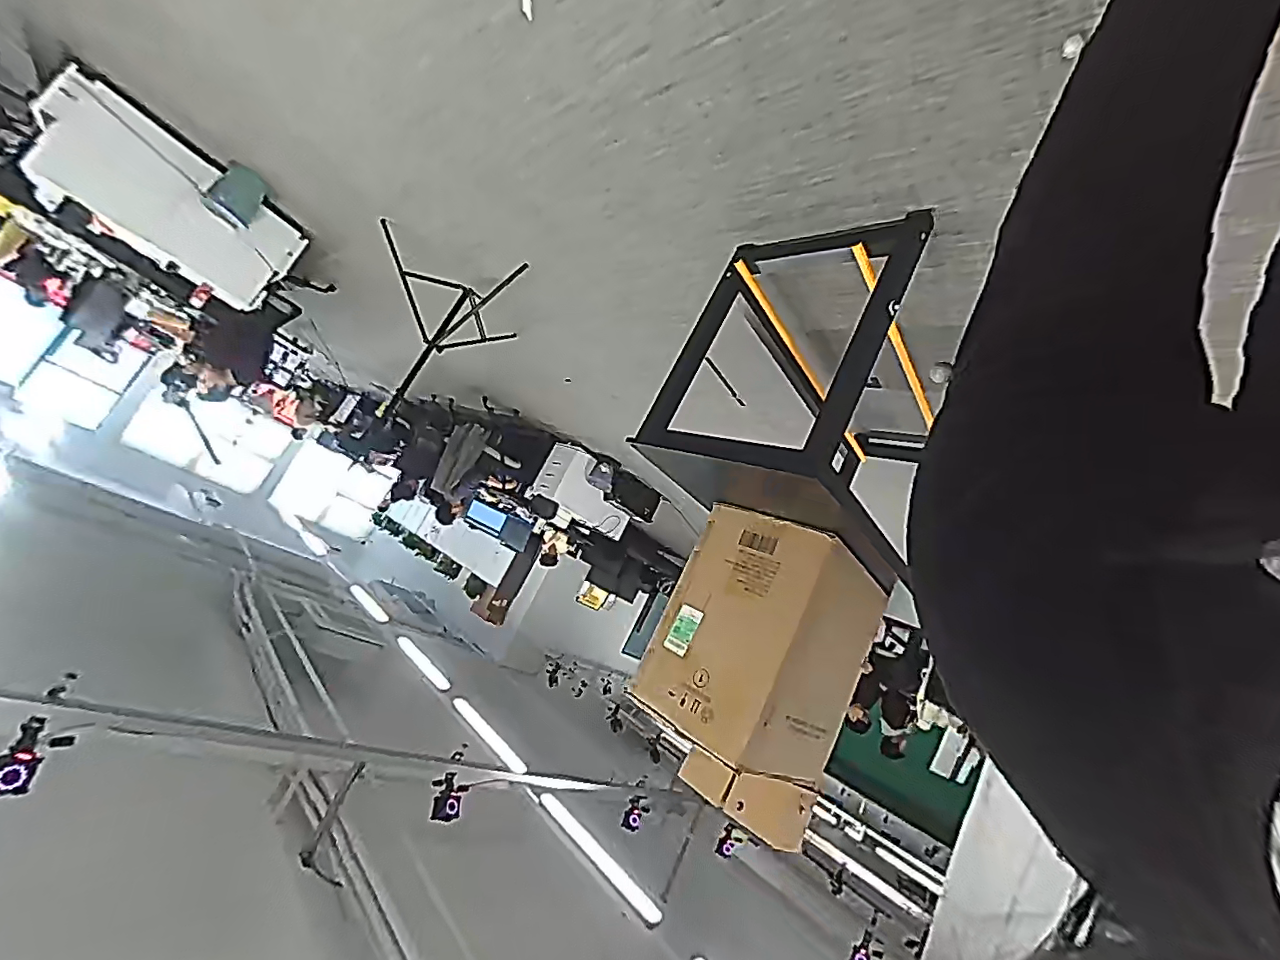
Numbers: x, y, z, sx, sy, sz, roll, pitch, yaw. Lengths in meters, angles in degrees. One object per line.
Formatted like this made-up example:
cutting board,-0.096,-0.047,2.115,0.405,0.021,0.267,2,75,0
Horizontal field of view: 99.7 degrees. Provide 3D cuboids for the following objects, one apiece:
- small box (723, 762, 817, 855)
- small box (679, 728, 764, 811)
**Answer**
small box,0.375,0.930,1.550,0.179,0.176,0.168,8,156,48
small box,0.259,0.904,1.688,0.168,0.176,0.179,17,163,46
